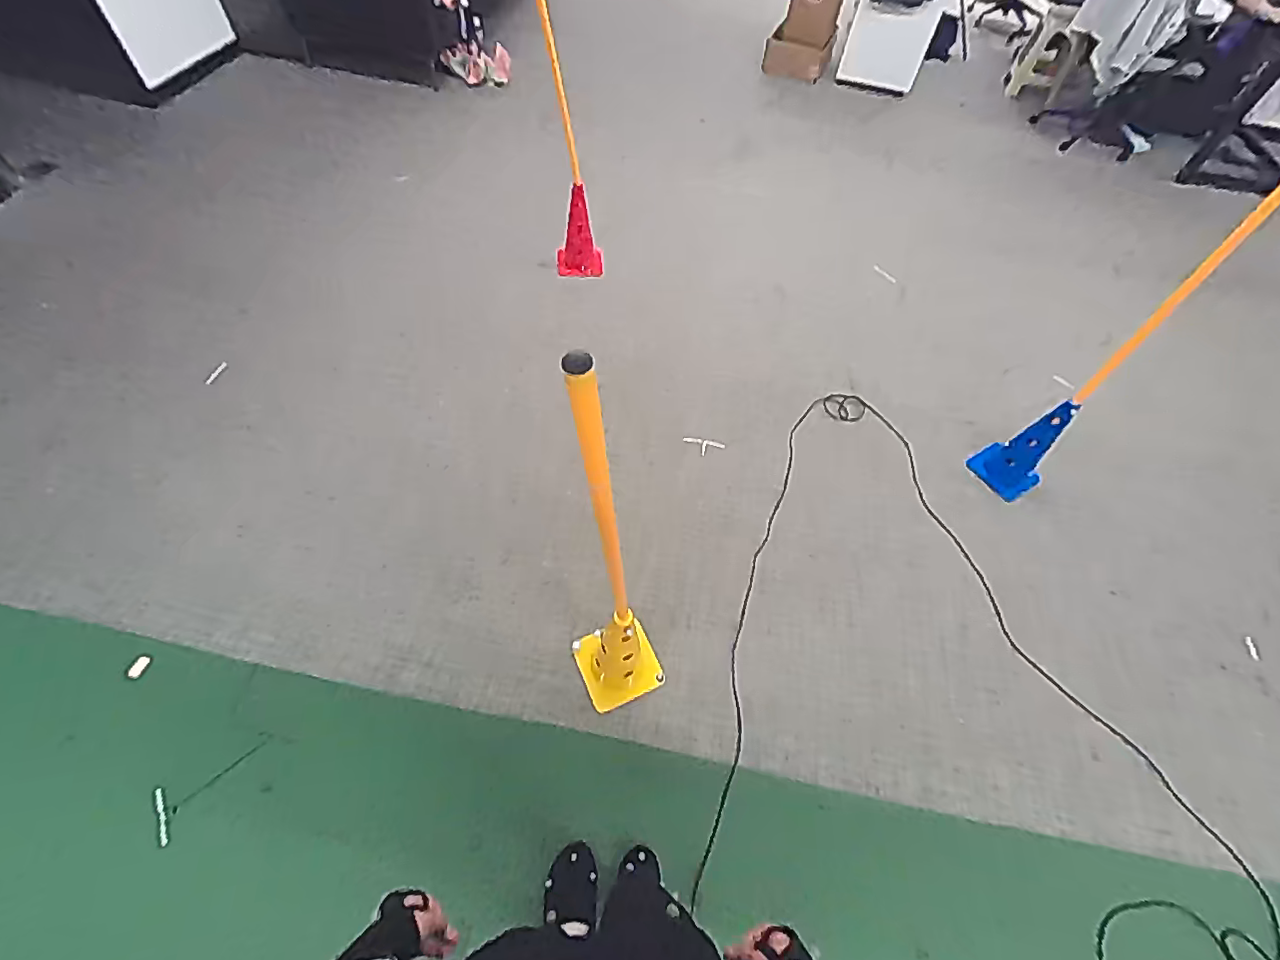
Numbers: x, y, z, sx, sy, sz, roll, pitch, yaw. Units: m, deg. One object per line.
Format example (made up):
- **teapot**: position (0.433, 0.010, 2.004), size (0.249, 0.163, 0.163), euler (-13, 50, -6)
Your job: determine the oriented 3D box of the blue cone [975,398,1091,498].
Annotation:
- **blue cone**: position (1.311, -0.132, 1.773), size (0.193, 0.380, 0.192), euler (-26, 61, -23)
